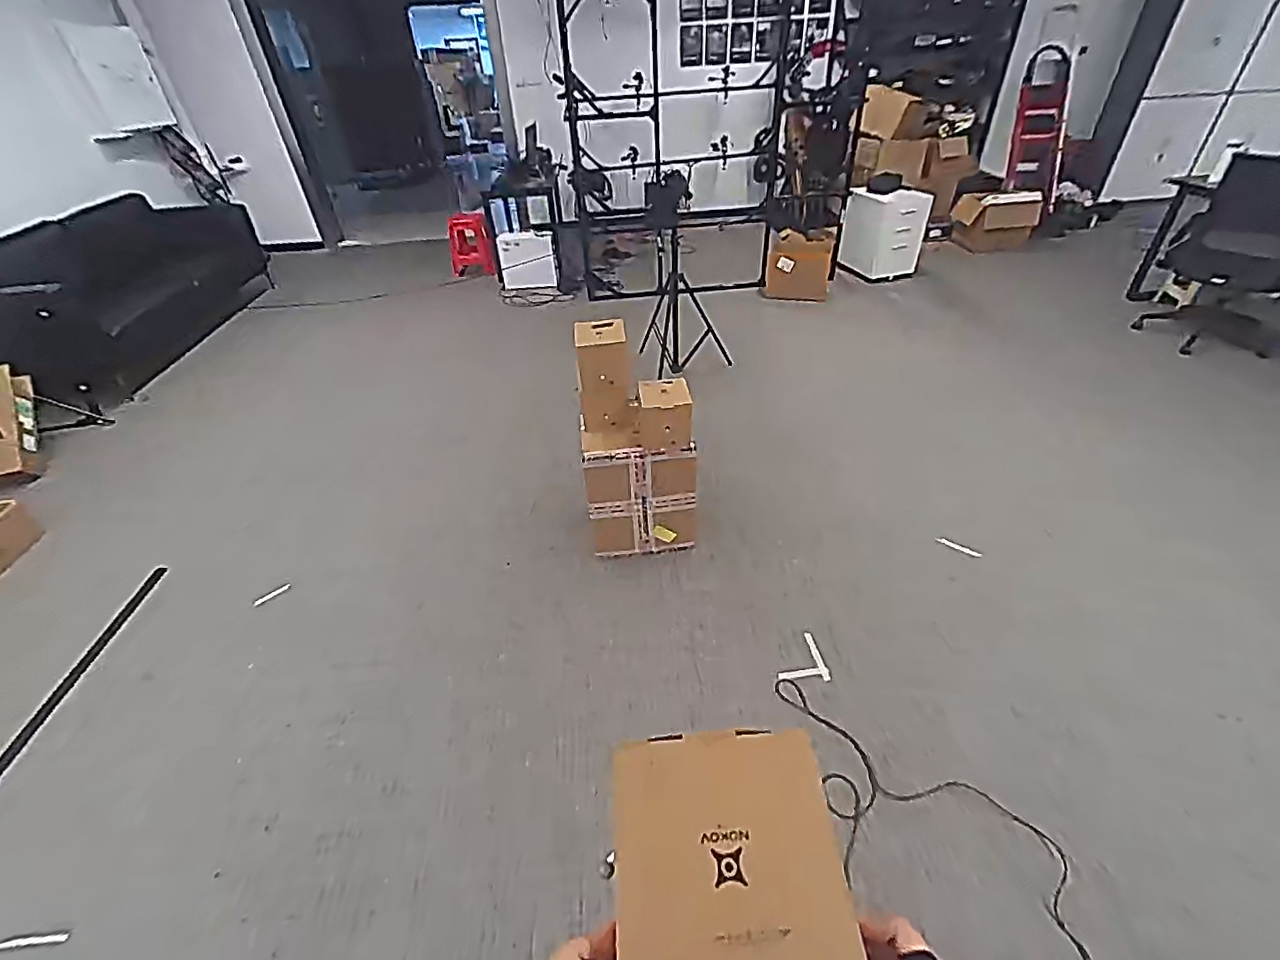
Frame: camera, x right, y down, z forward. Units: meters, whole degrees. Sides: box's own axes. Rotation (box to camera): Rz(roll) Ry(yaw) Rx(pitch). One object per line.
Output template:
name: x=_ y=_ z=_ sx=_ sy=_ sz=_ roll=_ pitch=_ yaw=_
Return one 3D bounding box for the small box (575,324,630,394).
small box: x=-0.127 y=-0.412 z=1.840 sx=0.168 sy=0.176 sz=0.179 roll=-7 pitch=41 yaw=-1

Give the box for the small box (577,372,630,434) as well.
small box: x=-0.131 y=-0.287 z=1.947 sx=0.168 sy=0.176 sz=0.179 roll=-9 pitch=40 yaw=-4

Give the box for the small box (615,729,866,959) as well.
small box: x=0.064 y=0.328 z=0.447 sx=0.168 sy=0.176 sz=0.179 roll=-4 pitch=48 yaw=-2

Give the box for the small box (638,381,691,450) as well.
small box: x=0.083 y=-0.215 z=1.839 sx=0.168 sy=0.176 sz=0.179 roll=-5 pitch=40 yaw=-3
